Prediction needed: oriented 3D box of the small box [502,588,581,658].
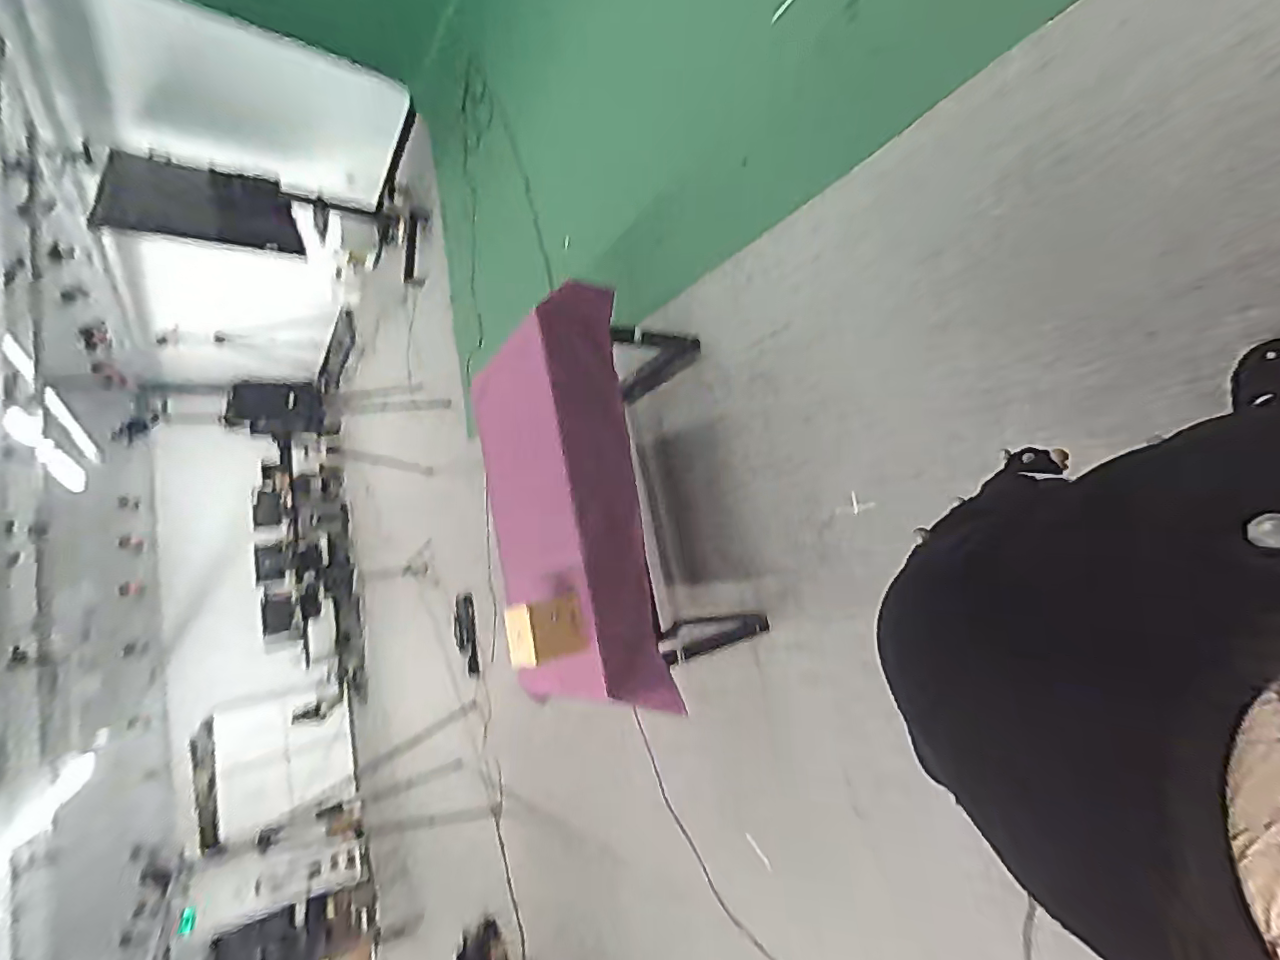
[{"bbox_3d":[-0.289,0.425,1.609,0.179,0.176,0.168,-26,73,51],"label":"small box"}]
